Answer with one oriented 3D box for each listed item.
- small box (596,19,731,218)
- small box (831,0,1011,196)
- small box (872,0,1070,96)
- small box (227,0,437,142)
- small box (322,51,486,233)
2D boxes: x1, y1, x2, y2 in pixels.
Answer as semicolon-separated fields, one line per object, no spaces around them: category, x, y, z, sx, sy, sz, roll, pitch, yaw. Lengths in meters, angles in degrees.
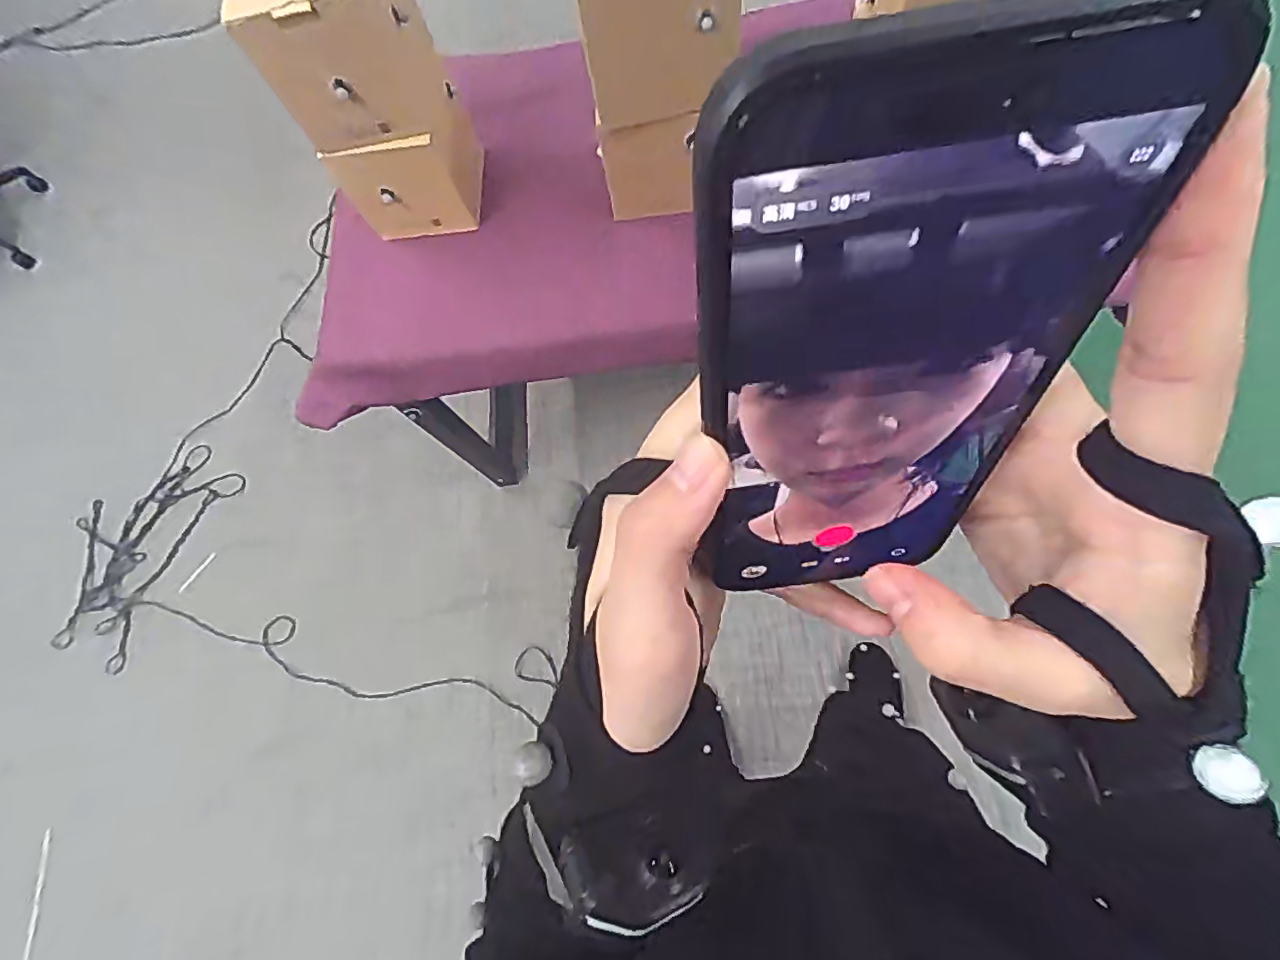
small box;0.036;-0.514;0.790;0.179;0.176;0.168;-4;73;6
small box;0.375;-0.523;0.751;0.179;0.176;0.168;2;73;9
small box;0.363;-0.557;0.590;0.179;0.176;0.168;2;73;7
small box;-0.372;-0.564;0.686;0.168;0.176;0.179;-8;73;4
small box;-0.352;-0.508;0.839;0.168;0.176;0.179;-3;73;6
